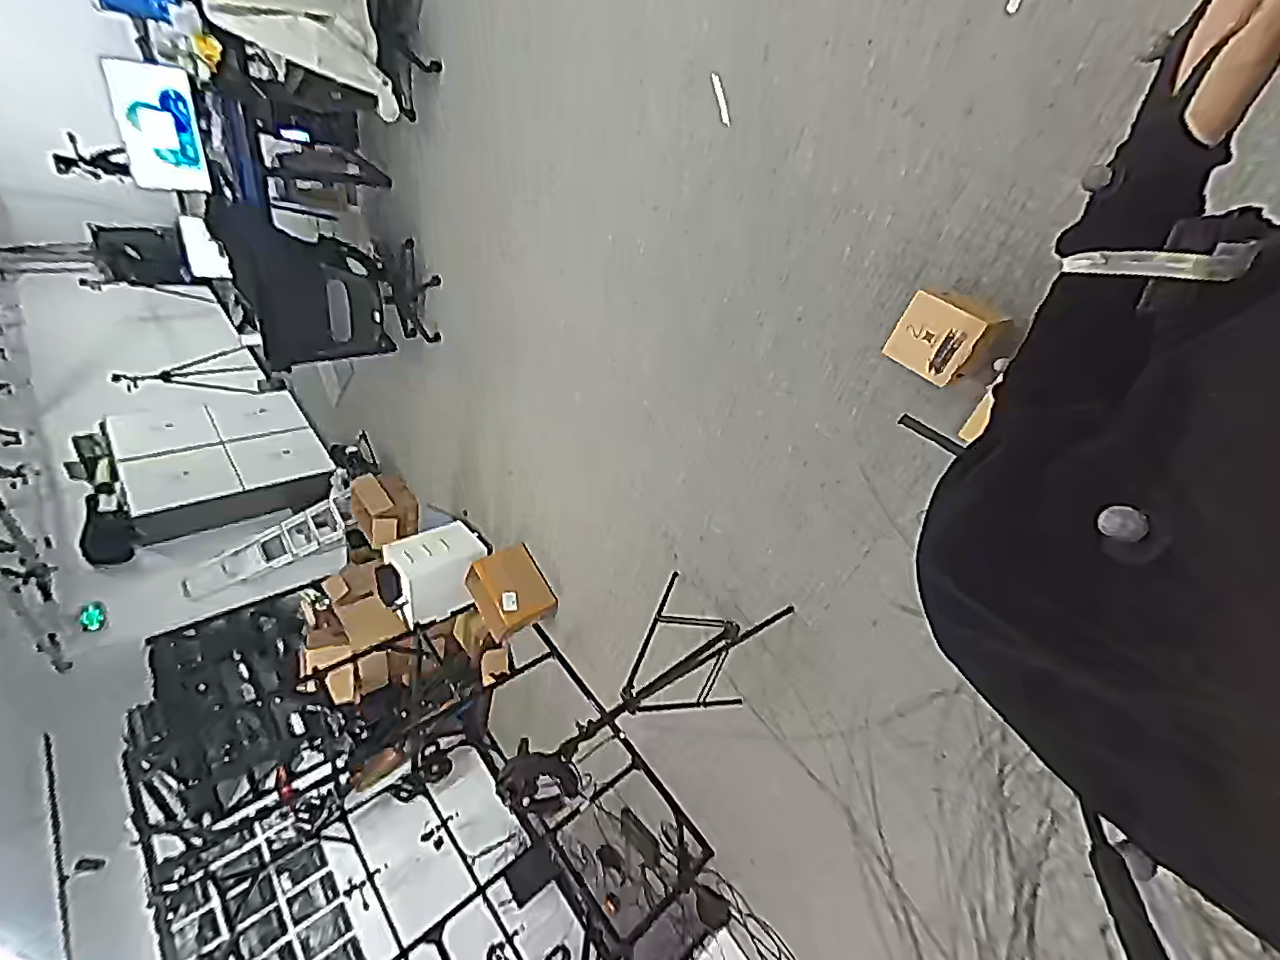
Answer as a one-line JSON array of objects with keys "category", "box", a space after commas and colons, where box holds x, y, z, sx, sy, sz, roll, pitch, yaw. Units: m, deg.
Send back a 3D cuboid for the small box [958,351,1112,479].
[{"category": "small box", "box": [0.775, -0.136, 1.060, 0.168, 0.176, 0.179, 42, 134, 30]}]
